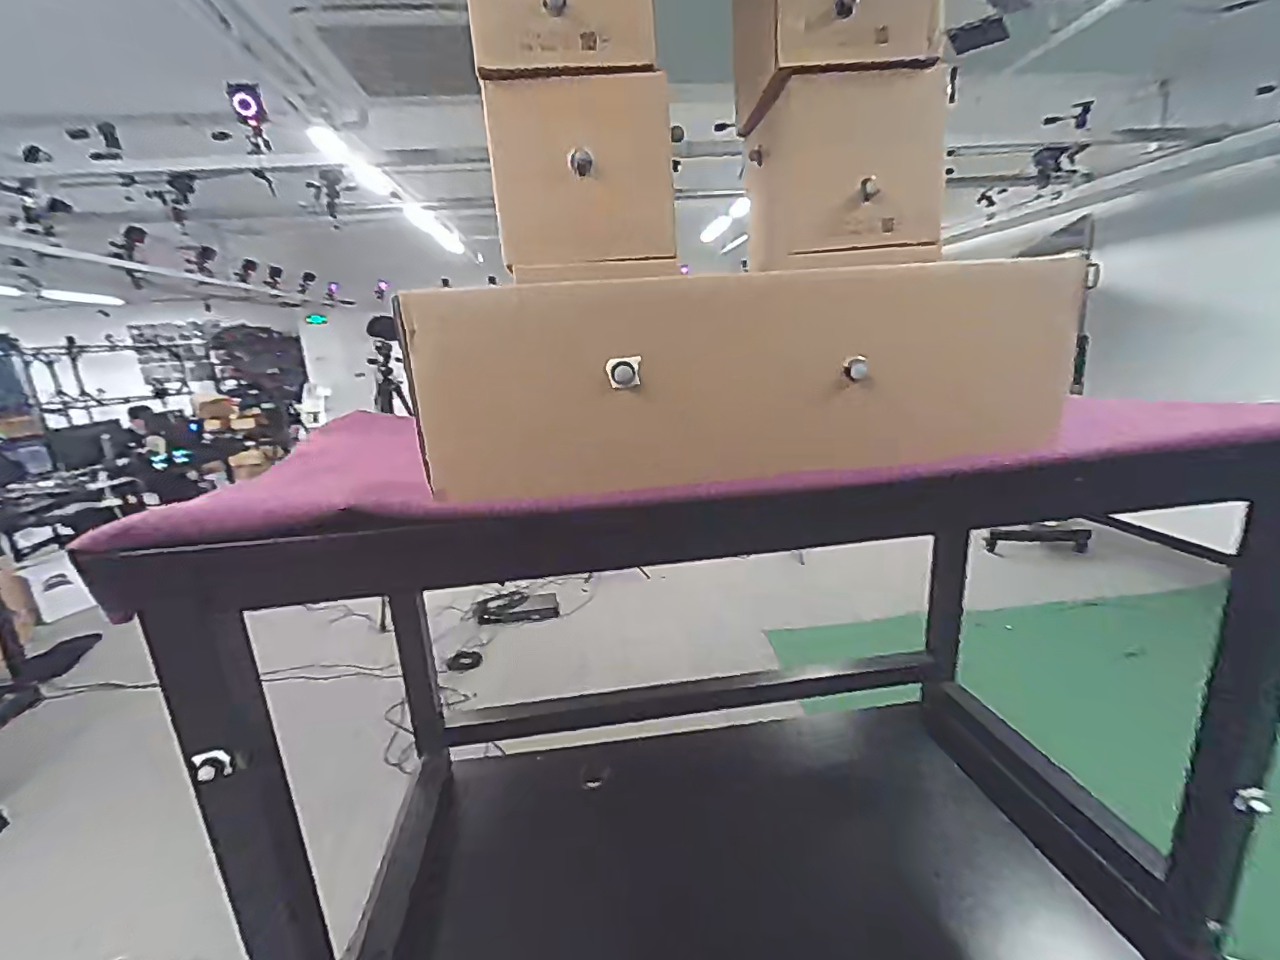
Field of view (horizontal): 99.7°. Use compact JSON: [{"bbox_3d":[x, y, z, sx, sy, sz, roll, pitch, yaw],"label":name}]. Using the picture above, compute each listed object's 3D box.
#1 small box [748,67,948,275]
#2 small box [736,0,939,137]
[{"bbox_3d":[0.228,-0.343,0.634,0.168,0.176,0.179,-6,14,-2],"label":"small box"},{"bbox_3d":[0.202,-0.498,0.590,0.168,0.176,0.179,-5,14,-2],"label":"small box"}]
